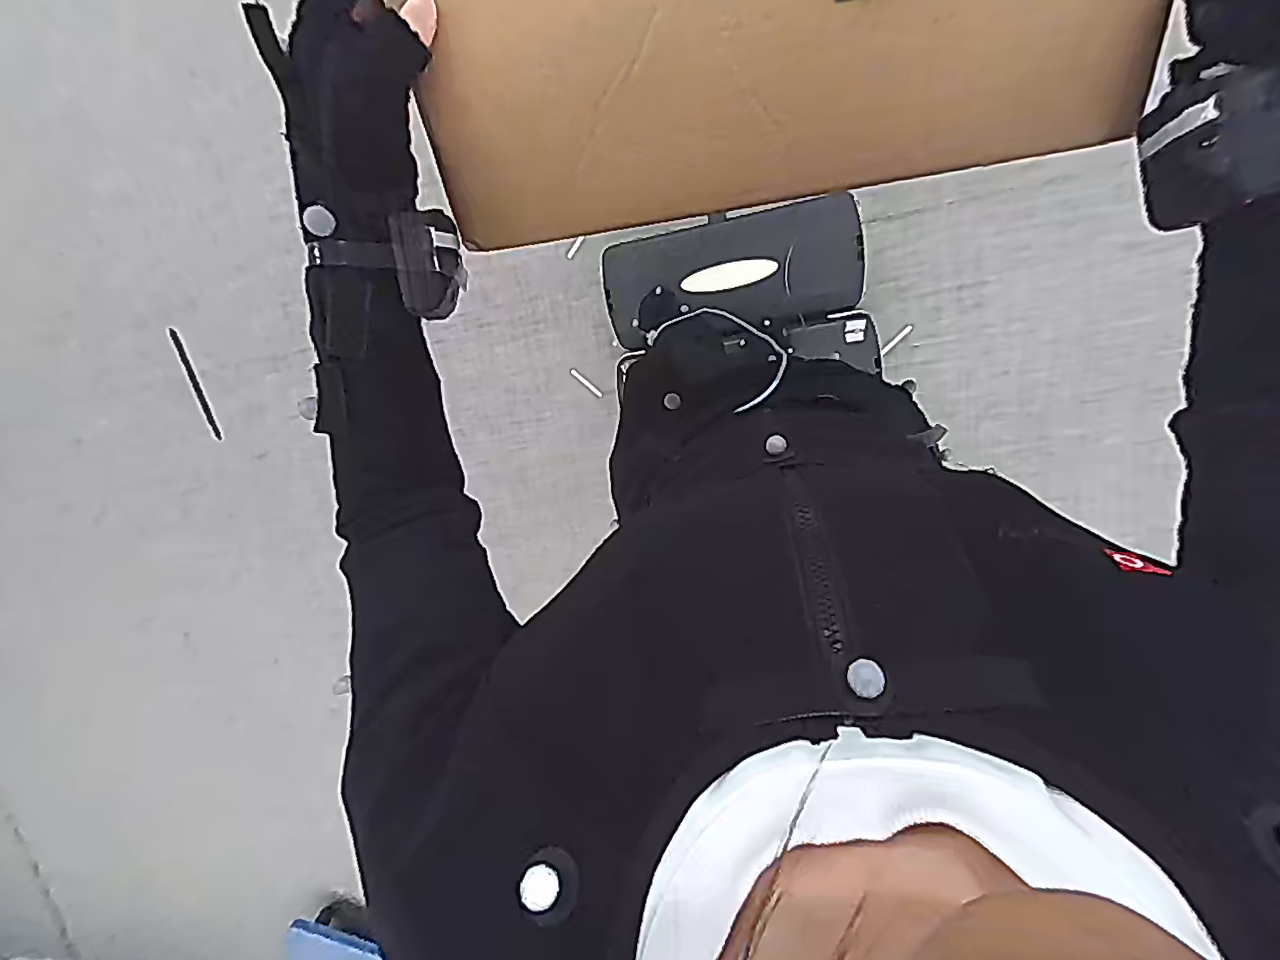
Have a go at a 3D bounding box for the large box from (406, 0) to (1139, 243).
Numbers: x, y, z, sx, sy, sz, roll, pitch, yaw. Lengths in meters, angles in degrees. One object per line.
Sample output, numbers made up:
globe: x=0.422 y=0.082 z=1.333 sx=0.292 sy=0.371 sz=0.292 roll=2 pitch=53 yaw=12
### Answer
large box: x=0.066 y=-0.395 z=0.397 sx=0.408 sy=0.320 sz=0.320 roll=-6 pitch=122 yaw=10

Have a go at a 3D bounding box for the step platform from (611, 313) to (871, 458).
step platform: x=0.265 y=-0.251 z=1.484 sx=0.684 sy=0.204 sz=0.286 roll=-8 pitch=106 yaw=15
